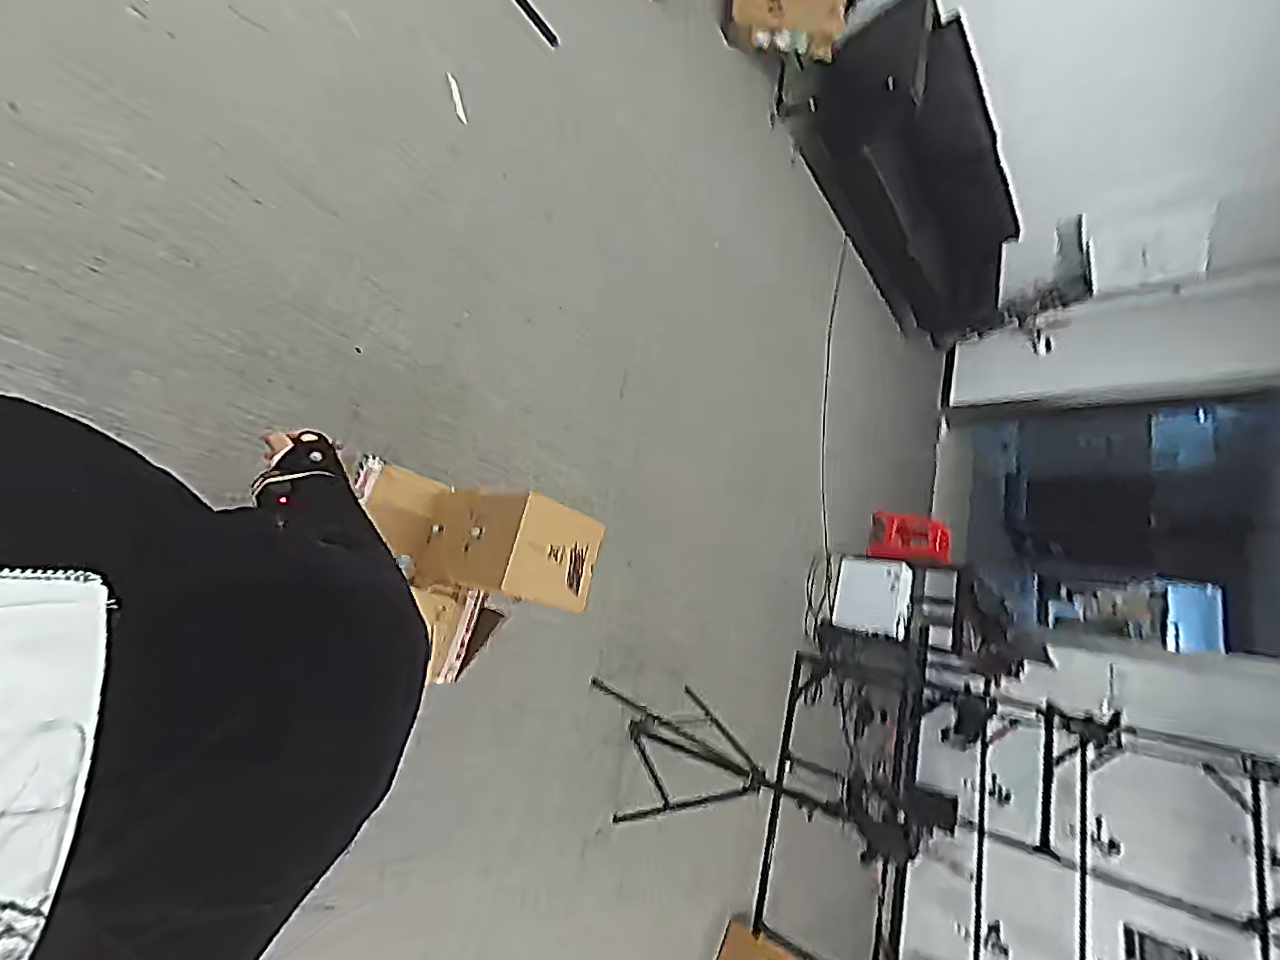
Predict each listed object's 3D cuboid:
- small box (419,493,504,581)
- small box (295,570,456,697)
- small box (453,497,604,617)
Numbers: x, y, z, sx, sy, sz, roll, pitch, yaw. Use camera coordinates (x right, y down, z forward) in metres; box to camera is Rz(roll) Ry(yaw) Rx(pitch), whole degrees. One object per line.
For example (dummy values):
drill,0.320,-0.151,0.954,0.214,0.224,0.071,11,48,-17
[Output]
small box,-0.308,0.128,1.084,0.179,0.176,0.168,25,70,-41
small box,-0.457,0.258,0.929,0.179,0.176,0.168,30,69,-40
small box,-0.197,0.135,0.962,0.179,0.176,0.168,29,67,-40
